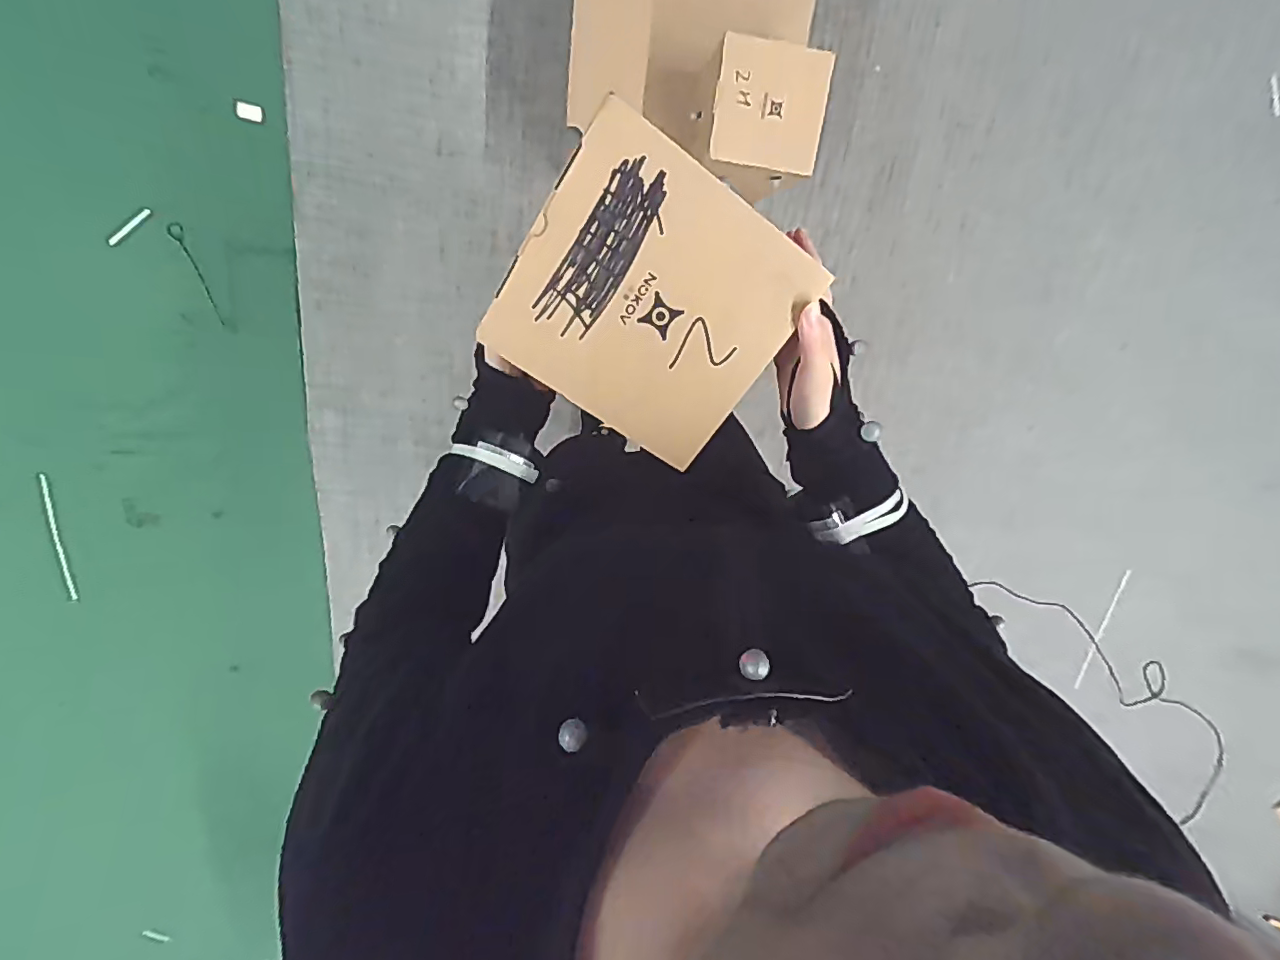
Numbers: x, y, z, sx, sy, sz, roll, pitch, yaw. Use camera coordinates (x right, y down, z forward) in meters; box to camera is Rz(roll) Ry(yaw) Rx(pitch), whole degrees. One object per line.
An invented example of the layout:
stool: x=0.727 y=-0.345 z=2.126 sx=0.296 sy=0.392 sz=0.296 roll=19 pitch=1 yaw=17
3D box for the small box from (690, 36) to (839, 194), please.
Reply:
small box: x=0.194 y=-0.587 z=0.895 sx=0.179 sy=0.176 sz=0.168 roll=6 pitch=108 yaw=-8
